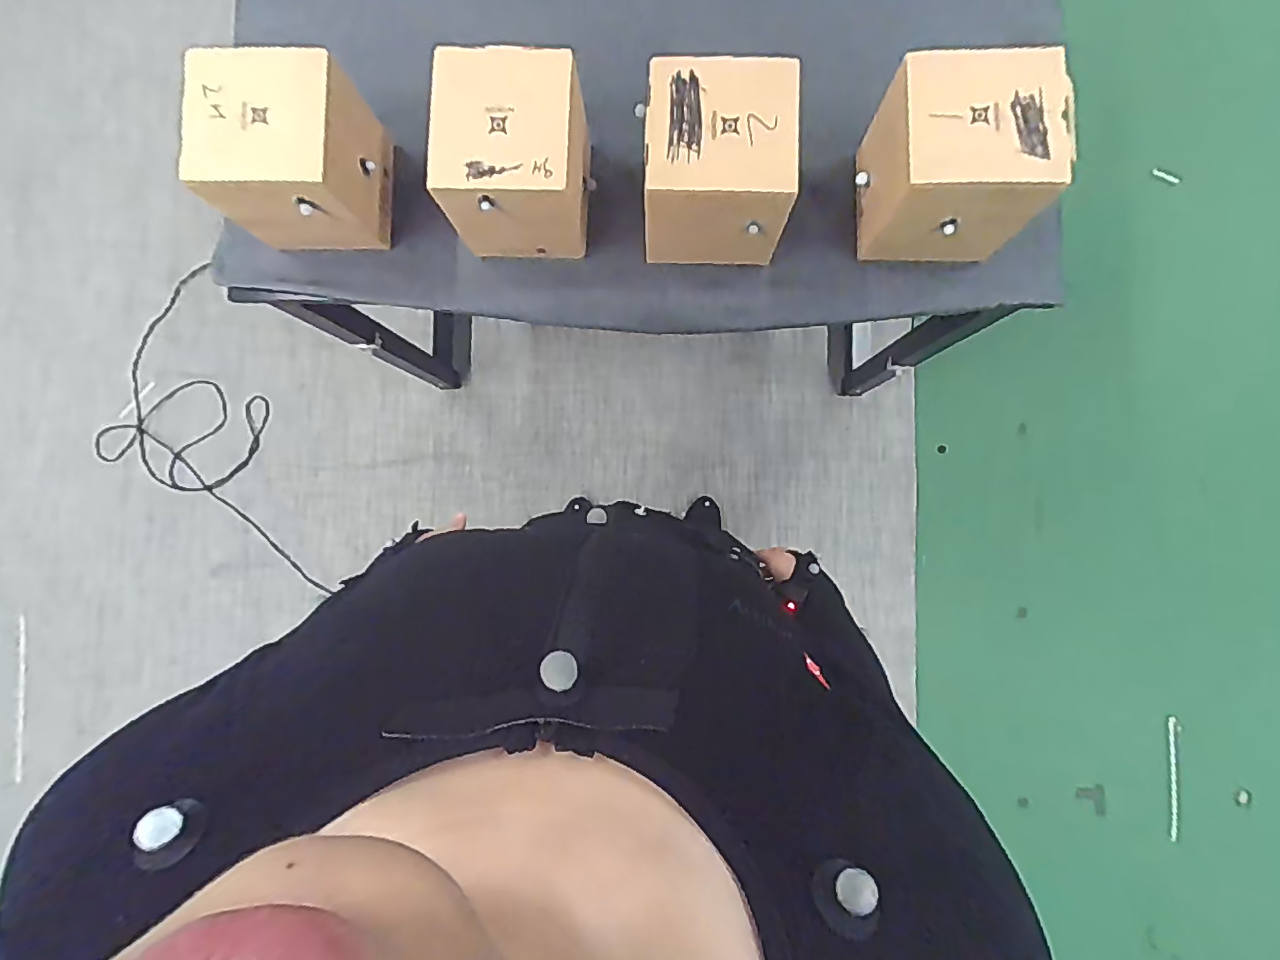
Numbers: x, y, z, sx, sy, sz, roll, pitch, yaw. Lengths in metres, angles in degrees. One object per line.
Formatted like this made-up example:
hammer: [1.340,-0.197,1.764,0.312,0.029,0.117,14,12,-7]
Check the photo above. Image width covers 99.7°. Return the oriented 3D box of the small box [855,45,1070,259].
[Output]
small box: [0.388,-0.395,0.677,0.179,0.176,0.168,2,84,4]
